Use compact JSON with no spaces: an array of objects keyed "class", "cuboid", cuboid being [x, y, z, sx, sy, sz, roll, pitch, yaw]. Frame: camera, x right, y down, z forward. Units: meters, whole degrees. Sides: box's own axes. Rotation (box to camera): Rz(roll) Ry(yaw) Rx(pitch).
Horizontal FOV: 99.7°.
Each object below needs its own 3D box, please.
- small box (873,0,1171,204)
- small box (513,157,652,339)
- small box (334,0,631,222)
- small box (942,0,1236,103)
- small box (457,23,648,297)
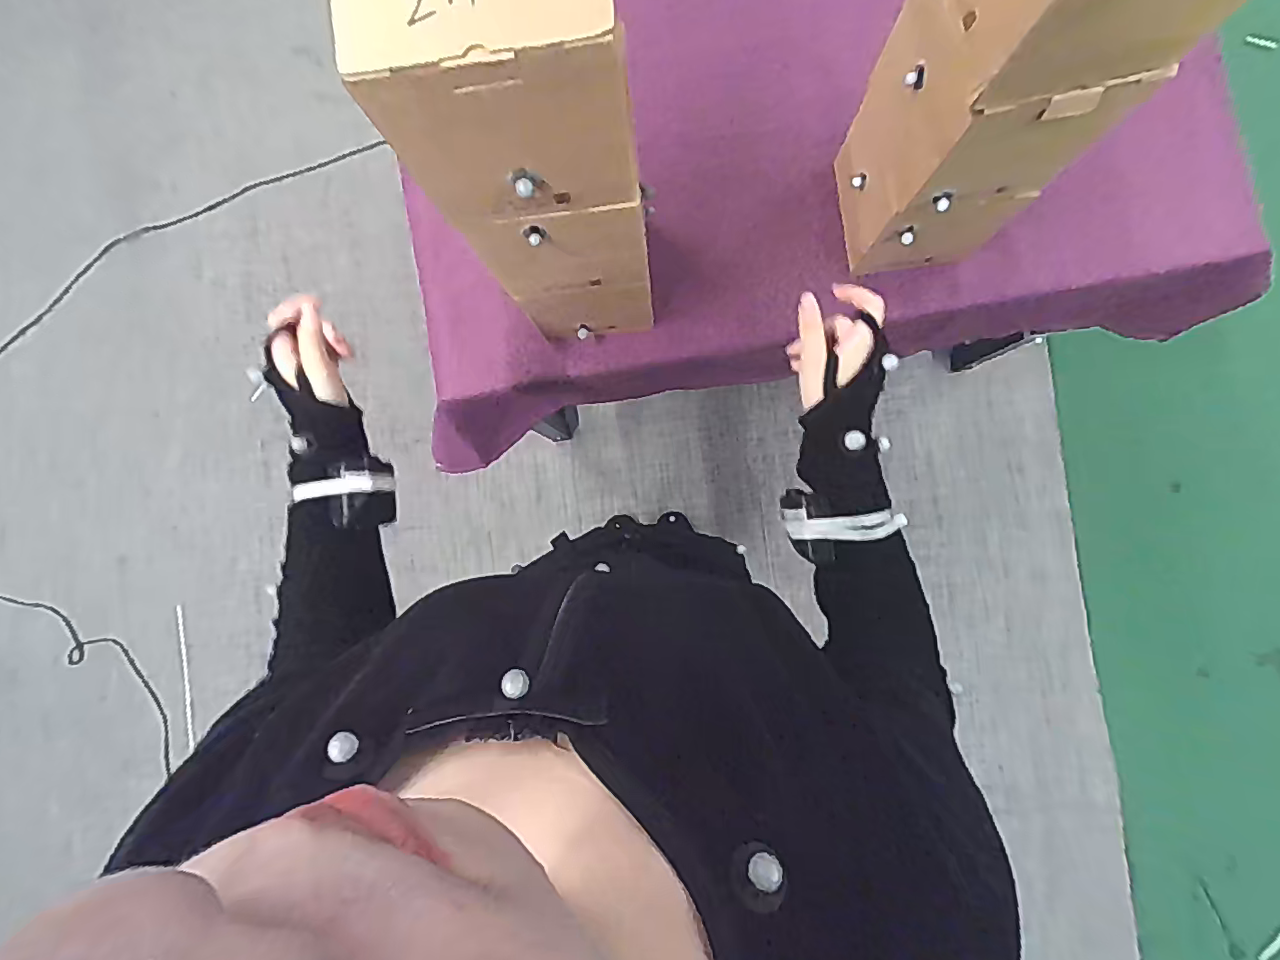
[{"class":"small box","cuboid":[0.358,-0.405,0.544,0.168,0.176,0.179,-10,85,3]},{"class":"small box","cuboid":[-0.072,-0.306,0.729,0.168,0.176,0.179,-4,88,3]},{"class":"small box","cuboid":[-0.100,-0.325,0.401,0.168,0.176,0.179,-6,87,3]},{"class":"small box","cuboid":[0.344,-0.415,0.382,0.179,0.176,0.168,-11,86,4]},{"class":"small box","cuboid":[-0.082,-0.314,0.565,0.168,0.176,0.179,-5,86,5]}]
